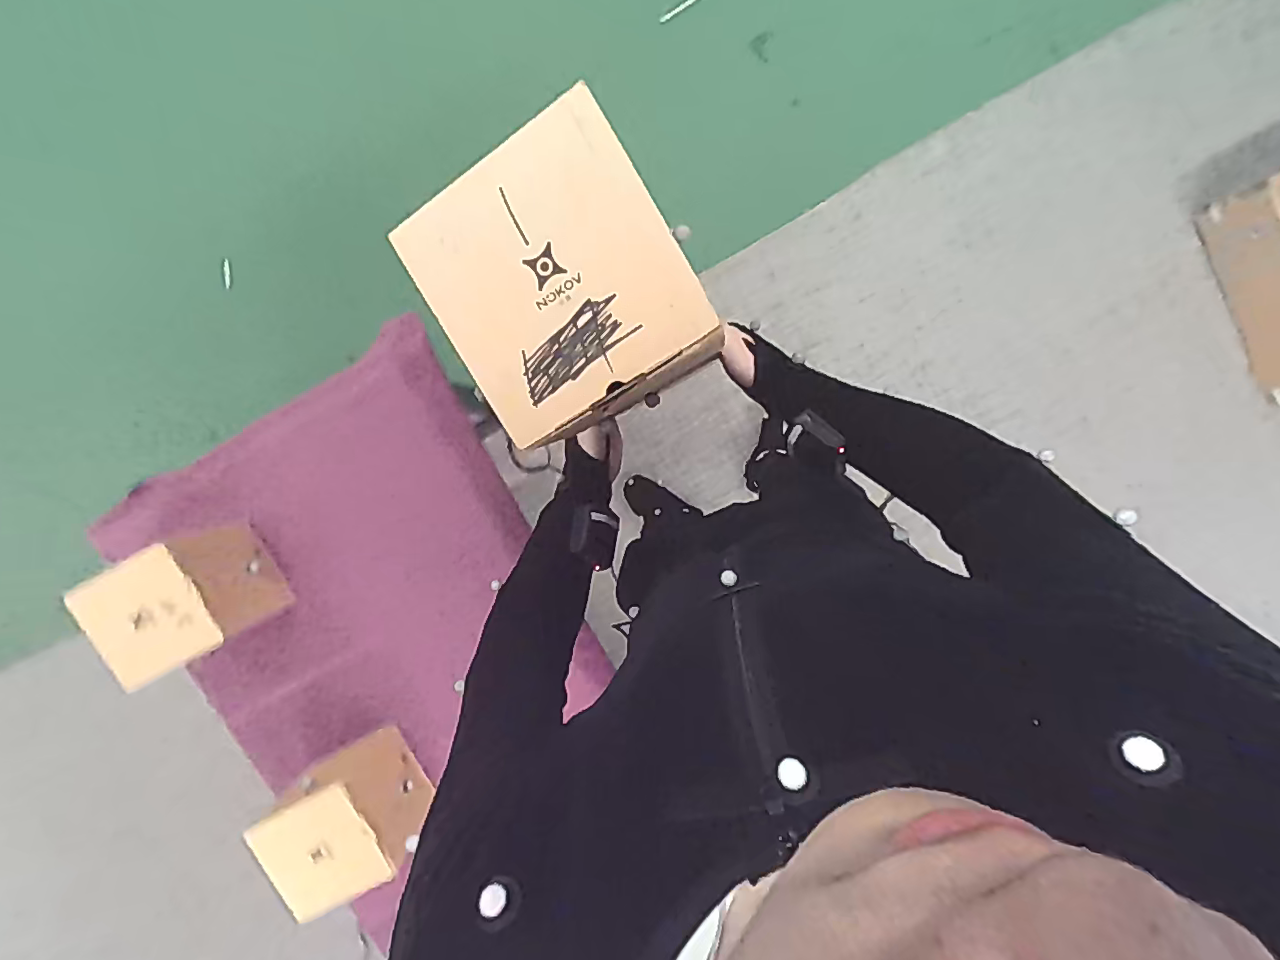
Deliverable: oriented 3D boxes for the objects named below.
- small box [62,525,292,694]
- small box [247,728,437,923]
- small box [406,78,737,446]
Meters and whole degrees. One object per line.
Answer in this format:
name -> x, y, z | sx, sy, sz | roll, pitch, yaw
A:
small box -> -0.704, 0.191, 0.845 | 0.179, 0.176, 0.168 | -29, 97, 3
small box -> -0.470, 0.549, 0.882 | 0.179, 0.176, 0.168 | -30, 94, 3
small box -> -0.034, -0.149, 0.428 | 0.168, 0.176, 0.179 | -29, 95, 13
